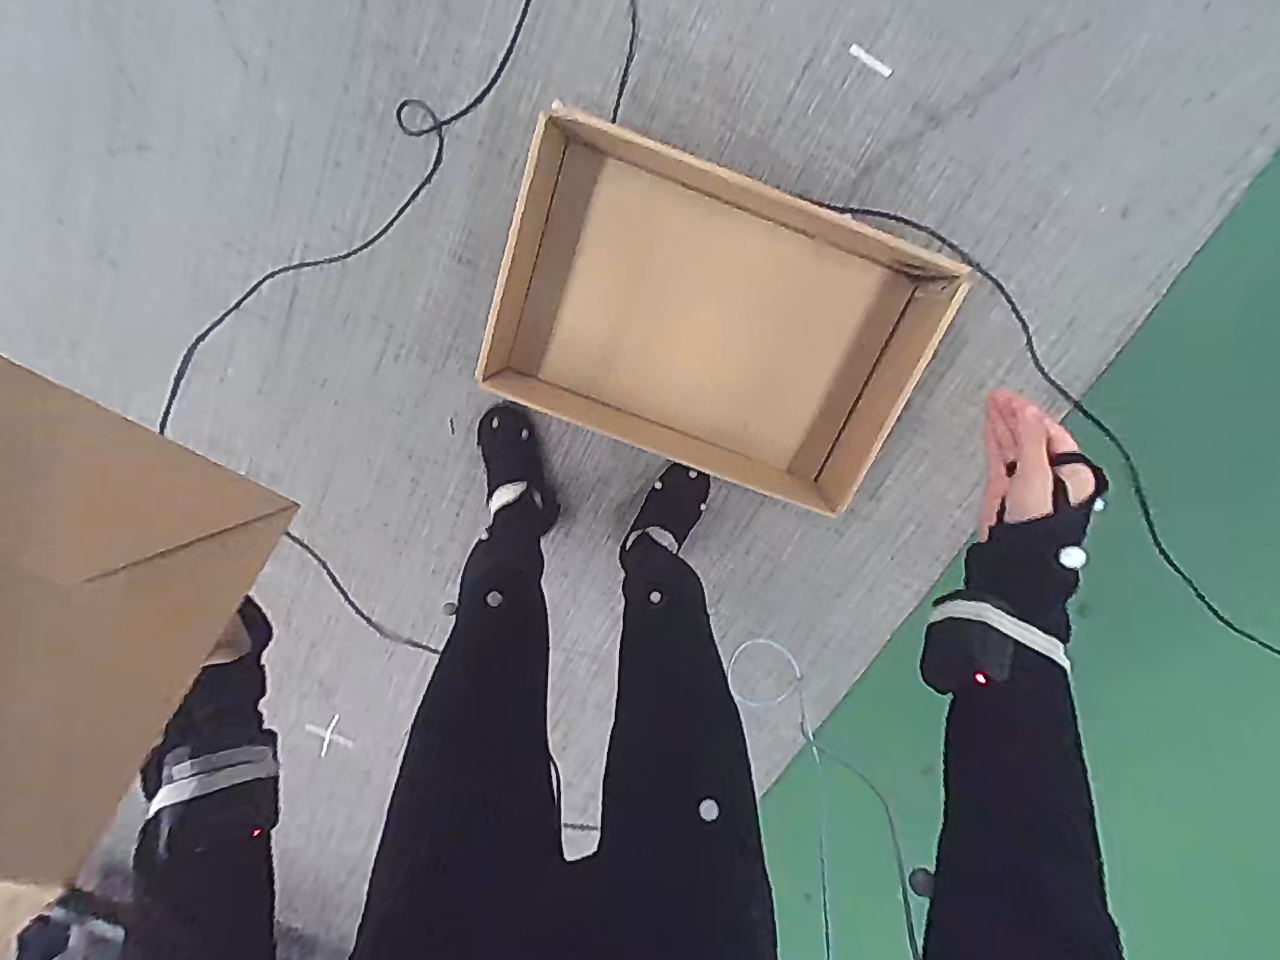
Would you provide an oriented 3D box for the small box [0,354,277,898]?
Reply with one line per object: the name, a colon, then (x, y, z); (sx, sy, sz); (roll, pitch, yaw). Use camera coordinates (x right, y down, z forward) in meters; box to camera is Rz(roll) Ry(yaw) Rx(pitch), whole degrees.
small box: (-0.287, 0.060, 0.208); (0.176, 0.179, 0.168); (-41, 122, 20)
